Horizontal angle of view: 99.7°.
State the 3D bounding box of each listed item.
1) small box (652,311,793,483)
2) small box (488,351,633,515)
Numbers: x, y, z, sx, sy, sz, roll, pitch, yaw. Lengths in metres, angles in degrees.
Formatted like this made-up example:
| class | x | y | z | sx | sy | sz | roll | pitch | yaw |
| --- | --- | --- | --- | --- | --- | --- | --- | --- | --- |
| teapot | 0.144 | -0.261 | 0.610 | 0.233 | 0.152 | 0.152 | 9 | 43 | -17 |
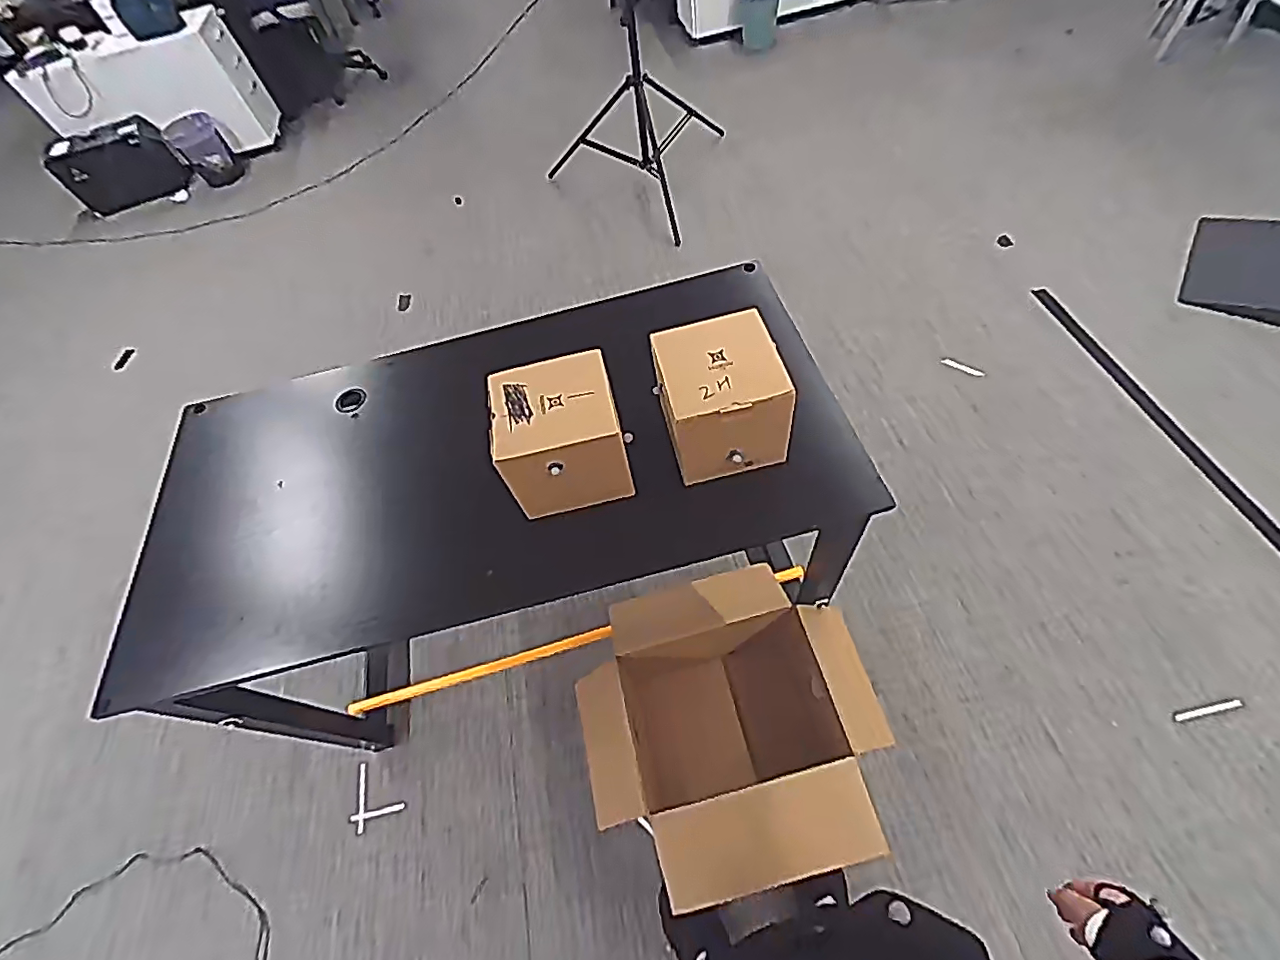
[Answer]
| class | x | y | z | sx | sy | sz | roll | pitch | yaw |
| --- | --- | --- | --- | --- | --- | --- | --- | --- | --- |
| small box | 0.120 | -0.122 | 0.827 | 0.168 | 0.176 | 0.179 | -14 | 57 | 2 |
| small box | -0.118 | -0.065 | 0.830 | 0.179 | 0.176 | 0.168 | -13 | 57 | 0 |
